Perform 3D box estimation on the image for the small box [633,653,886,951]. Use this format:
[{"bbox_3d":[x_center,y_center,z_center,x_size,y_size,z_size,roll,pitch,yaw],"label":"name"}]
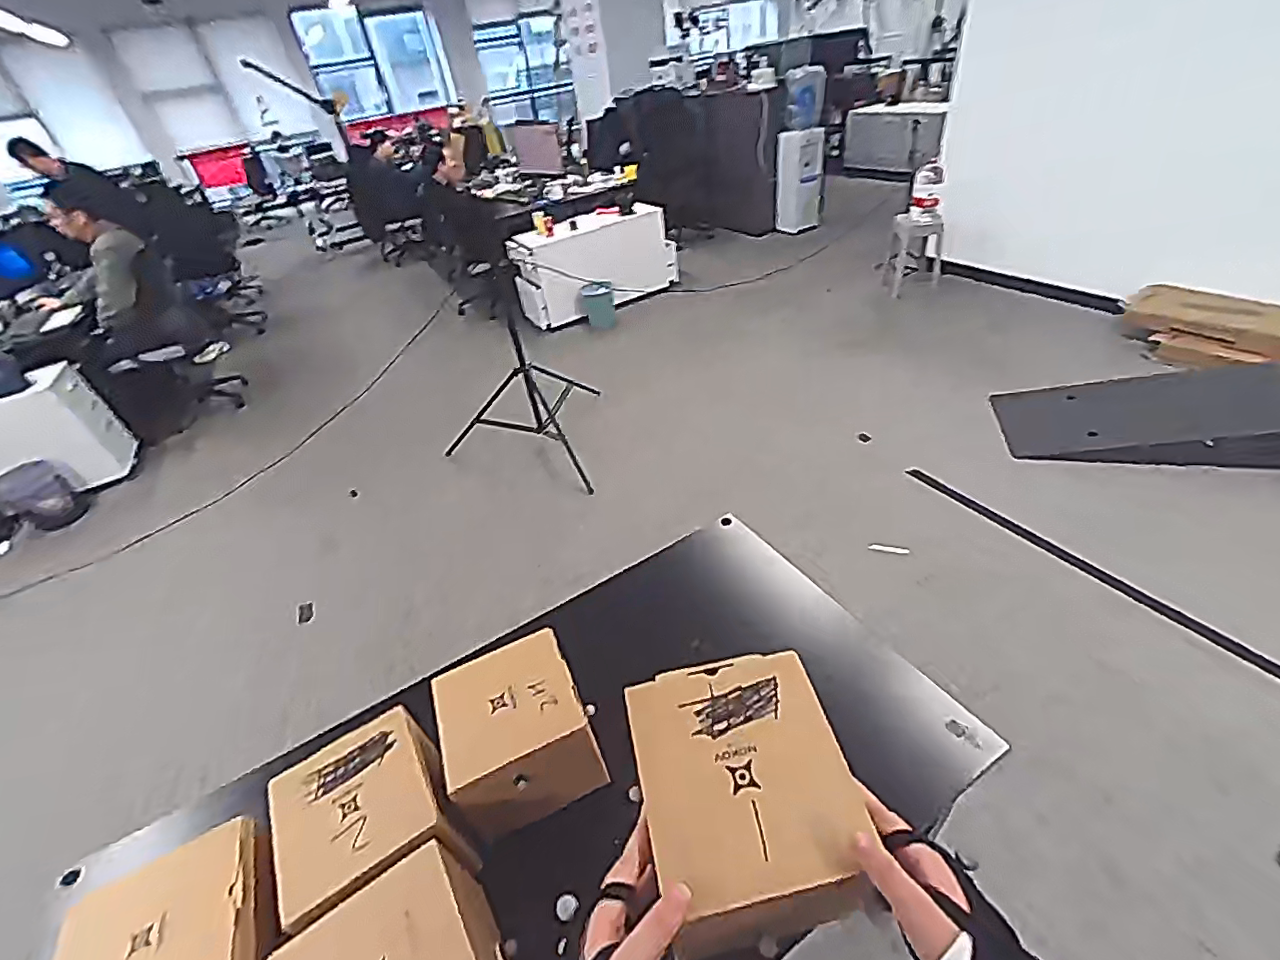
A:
[{"bbox_3d":[0.092,0.294,0.500,0.168,0.176,0.179,-11,42,-4],"label":"small box"}]
